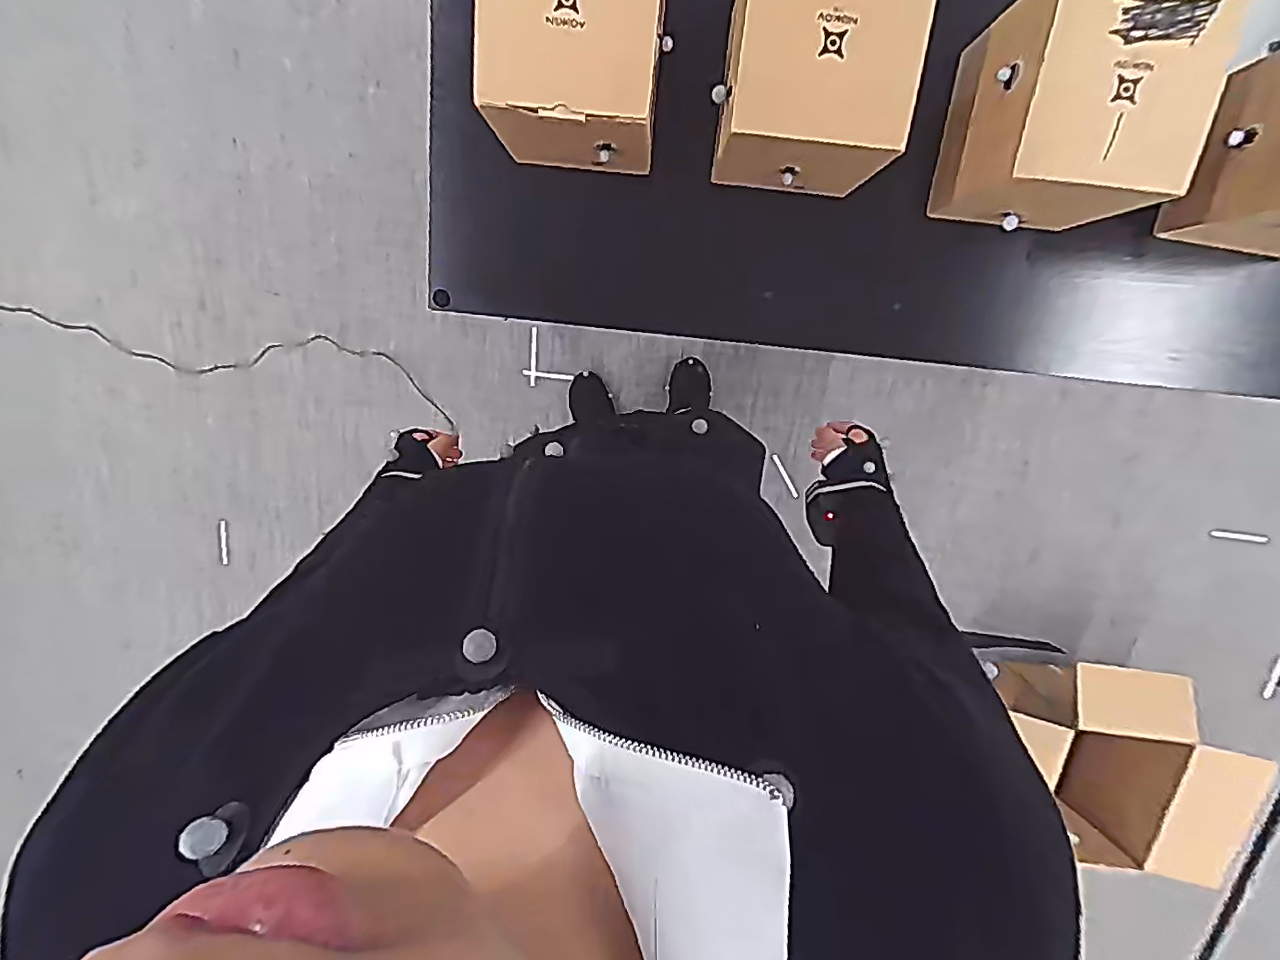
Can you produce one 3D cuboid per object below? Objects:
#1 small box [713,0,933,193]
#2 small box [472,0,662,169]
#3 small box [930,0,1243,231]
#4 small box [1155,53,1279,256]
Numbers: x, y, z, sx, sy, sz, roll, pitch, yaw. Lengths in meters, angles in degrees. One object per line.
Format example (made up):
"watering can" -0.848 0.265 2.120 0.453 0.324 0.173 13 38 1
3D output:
"small box" 0.173 -0.416 0.558 0.168 0.176 0.179 6 104 -1
"small box" -0.066 -0.444 0.558 0.168 0.176 0.179 5 103 -1
"small box" 0.435 -0.378 0.563 0.168 0.176 0.179 7 105 0
"small box" 0.714 -0.343 0.565 0.179 0.176 0.168 9 104 0
